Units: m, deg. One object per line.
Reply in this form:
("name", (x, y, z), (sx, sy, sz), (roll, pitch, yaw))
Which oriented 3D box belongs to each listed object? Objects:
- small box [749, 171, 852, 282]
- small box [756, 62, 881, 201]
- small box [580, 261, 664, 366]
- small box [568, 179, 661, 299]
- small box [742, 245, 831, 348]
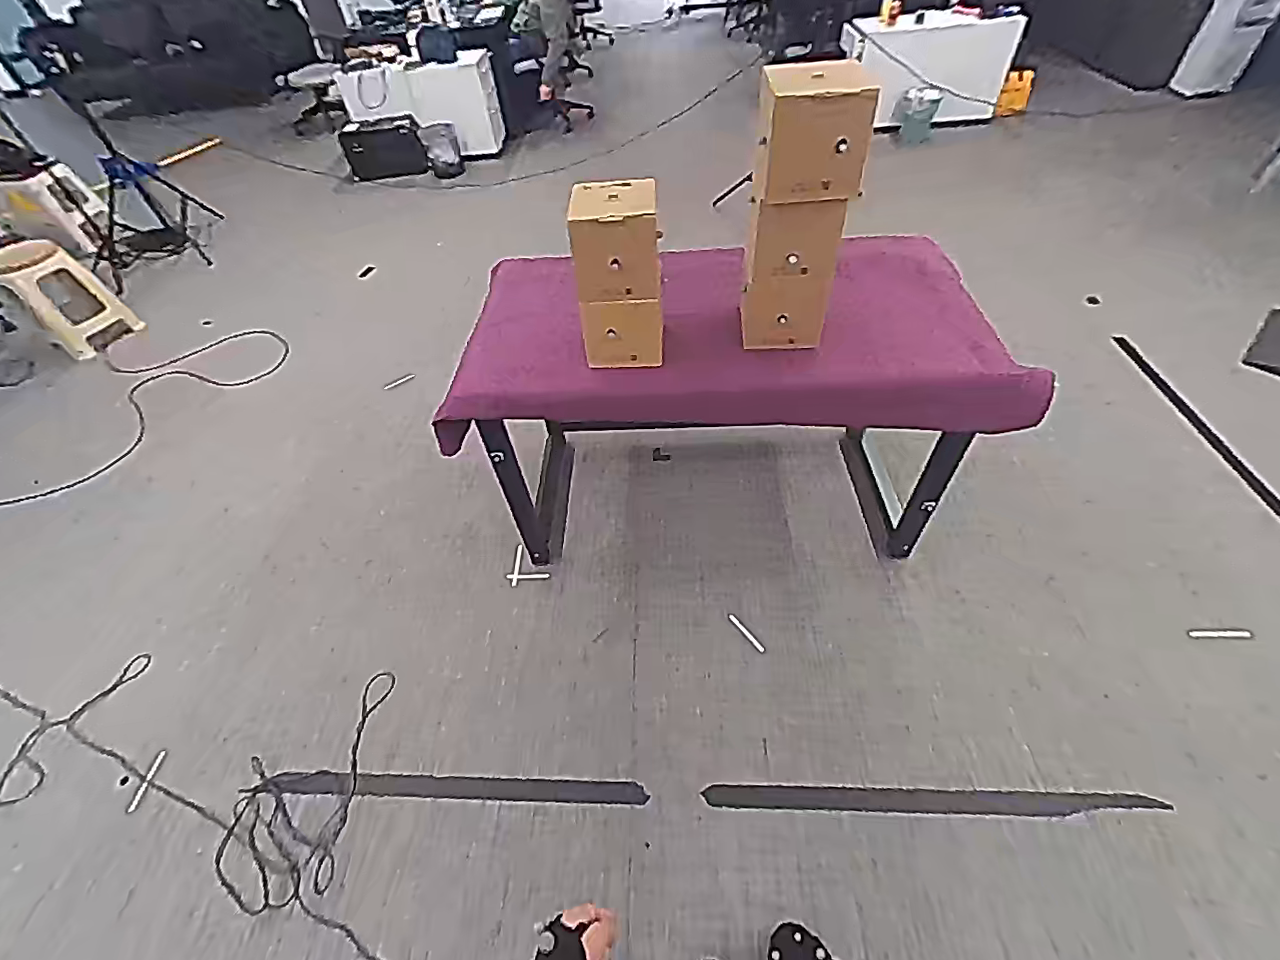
("small box", (0.313, -0.522, 1.096), (0.168, 0.176, 0.179), (1, 50, 6))
("small box", (0.304, -0.611, 0.959), (0.168, 0.176, 0.179), (-1, 49, 3))
("small box", (-0.031, -0.369, 1.213), (0.168, 0.176, 0.179), (0, 48, 4))
("small box", (-0.044, -0.481, 1.094), (0.168, 0.176, 0.179), (-2, 49, 3))
("small box", (0.321, -0.413, 1.218), (0.168, 0.176, 0.179), (1, 49, 6))
